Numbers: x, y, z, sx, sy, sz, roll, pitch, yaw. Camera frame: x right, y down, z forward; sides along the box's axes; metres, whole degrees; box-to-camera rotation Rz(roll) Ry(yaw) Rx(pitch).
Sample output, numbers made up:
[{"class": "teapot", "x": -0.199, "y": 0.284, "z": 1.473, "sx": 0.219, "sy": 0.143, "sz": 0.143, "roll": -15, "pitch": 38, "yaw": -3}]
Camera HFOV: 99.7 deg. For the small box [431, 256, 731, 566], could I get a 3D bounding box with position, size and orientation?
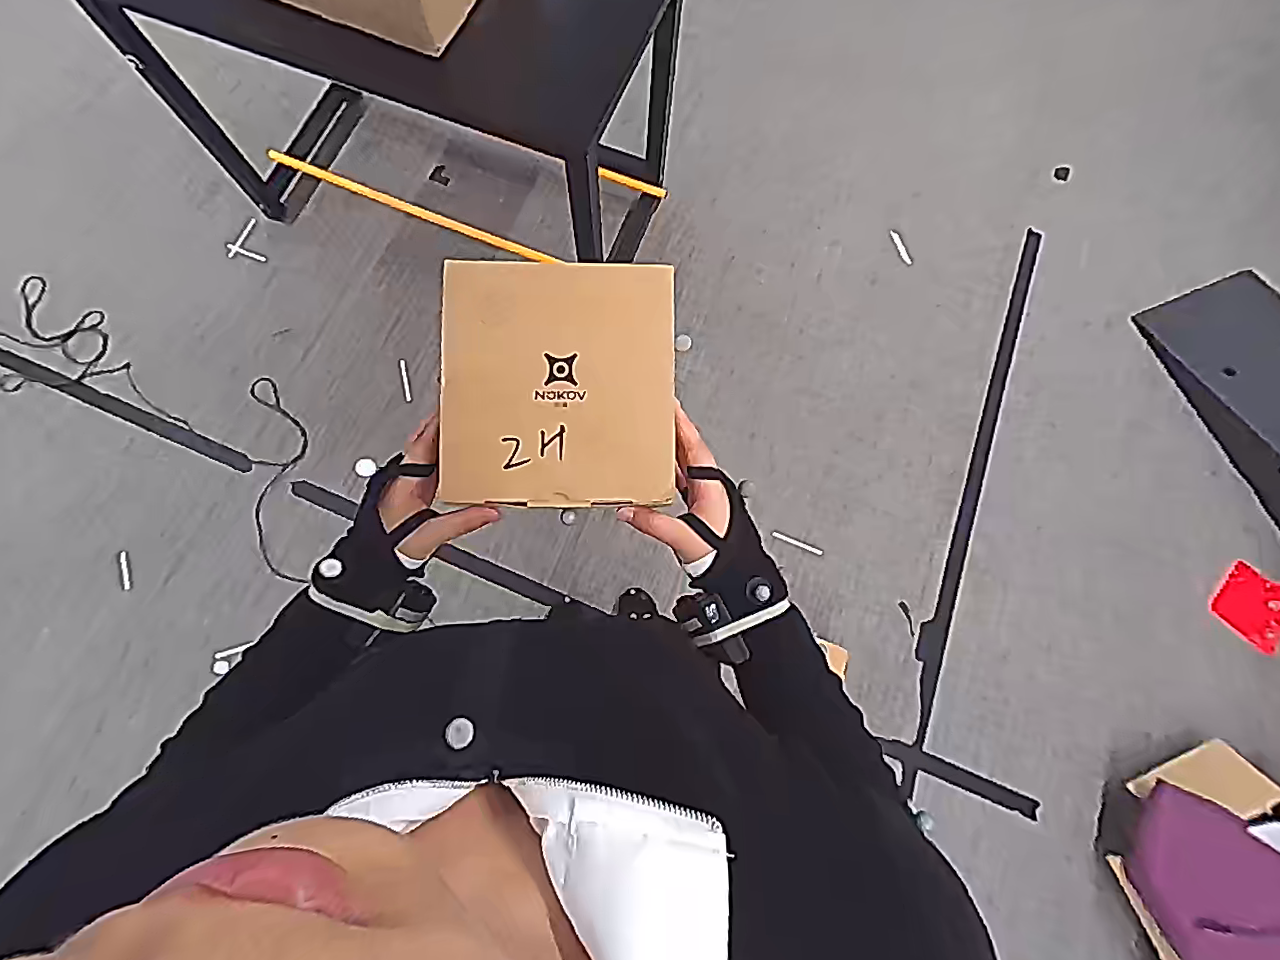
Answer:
[{"class": "small box", "x": -0.036, "y": -0.034, "z": 0.381, "sx": 0.168, "sy": 0.176, "sz": 0.179, "roll": -1, "pitch": 86, "yaw": -3}]
